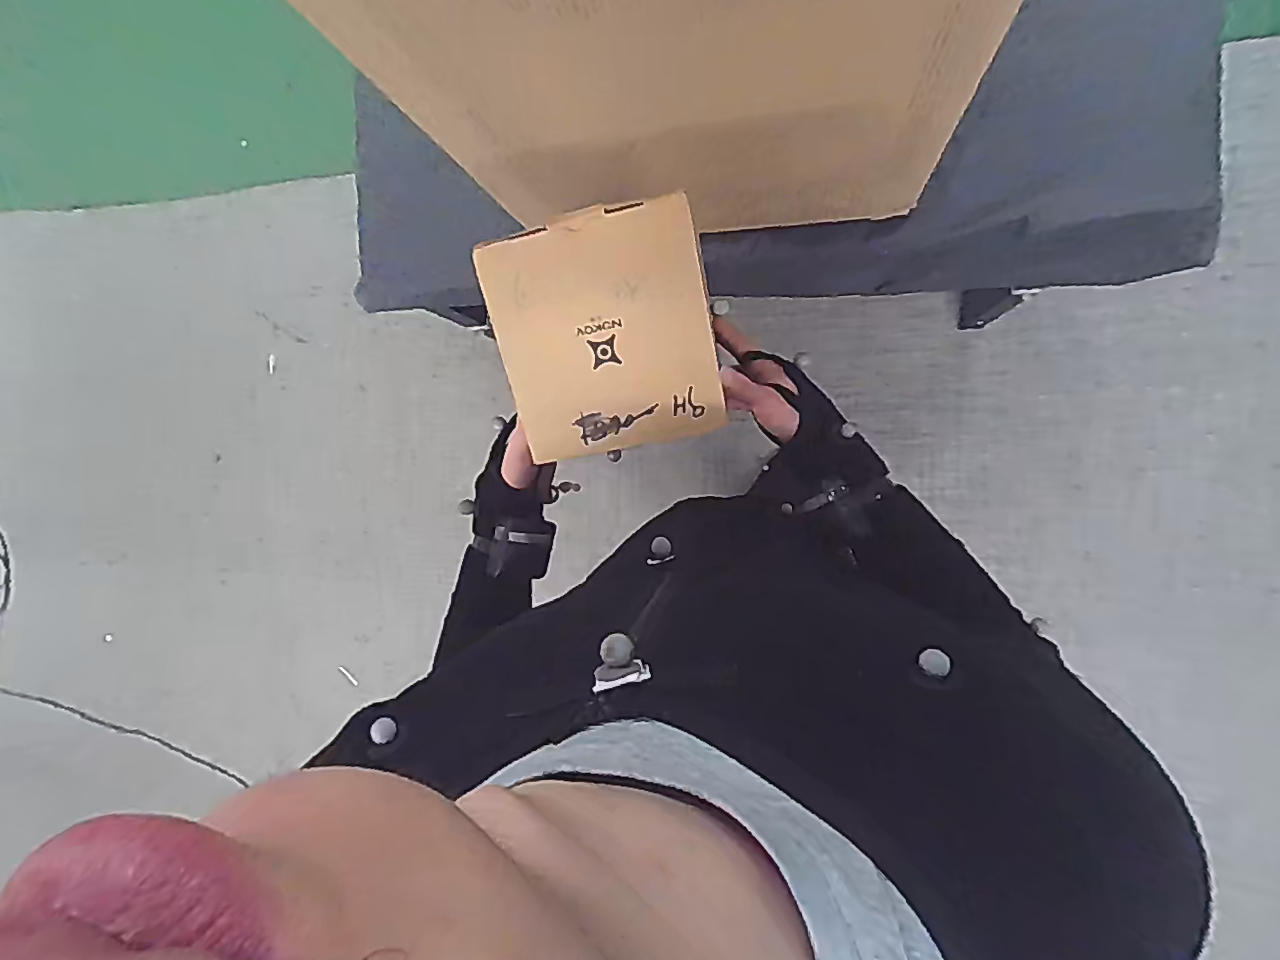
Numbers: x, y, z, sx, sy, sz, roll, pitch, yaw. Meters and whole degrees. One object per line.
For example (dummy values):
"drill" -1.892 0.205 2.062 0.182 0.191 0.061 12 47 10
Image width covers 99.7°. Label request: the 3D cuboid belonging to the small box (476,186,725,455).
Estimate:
"small box" -0.017 -0.136 0.487 0.168 0.176 0.179 -8 107 13
